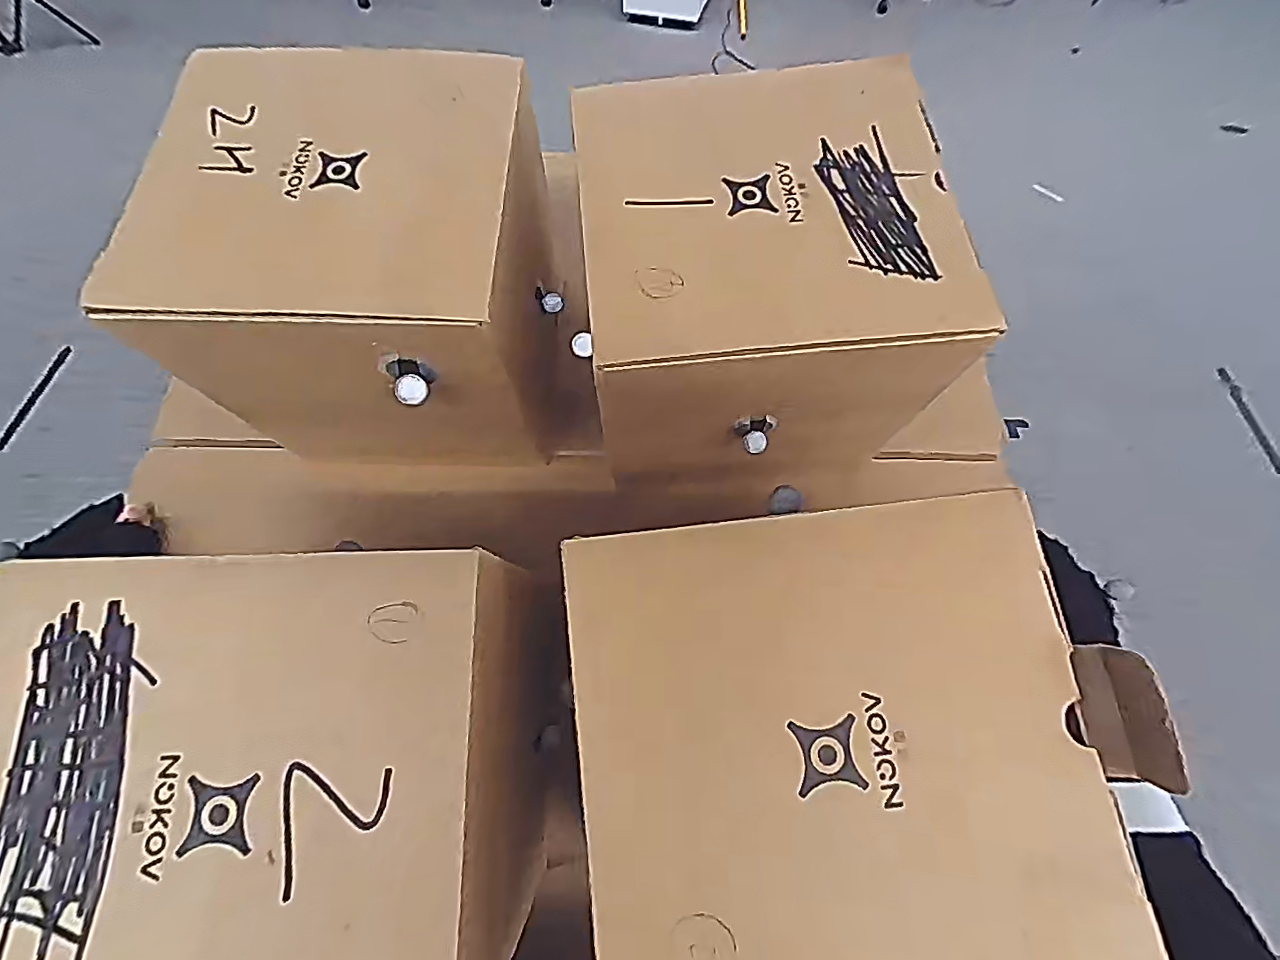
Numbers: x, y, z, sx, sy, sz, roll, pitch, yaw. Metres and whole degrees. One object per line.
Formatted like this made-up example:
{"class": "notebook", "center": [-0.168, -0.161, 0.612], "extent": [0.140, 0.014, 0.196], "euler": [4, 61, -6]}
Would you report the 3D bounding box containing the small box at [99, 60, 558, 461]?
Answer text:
{"class": "small box", "center": [-0.152, -0.118, 0.342], "extent": [0.179, 0.176, 0.168], "euler": [2, 70, 1]}
